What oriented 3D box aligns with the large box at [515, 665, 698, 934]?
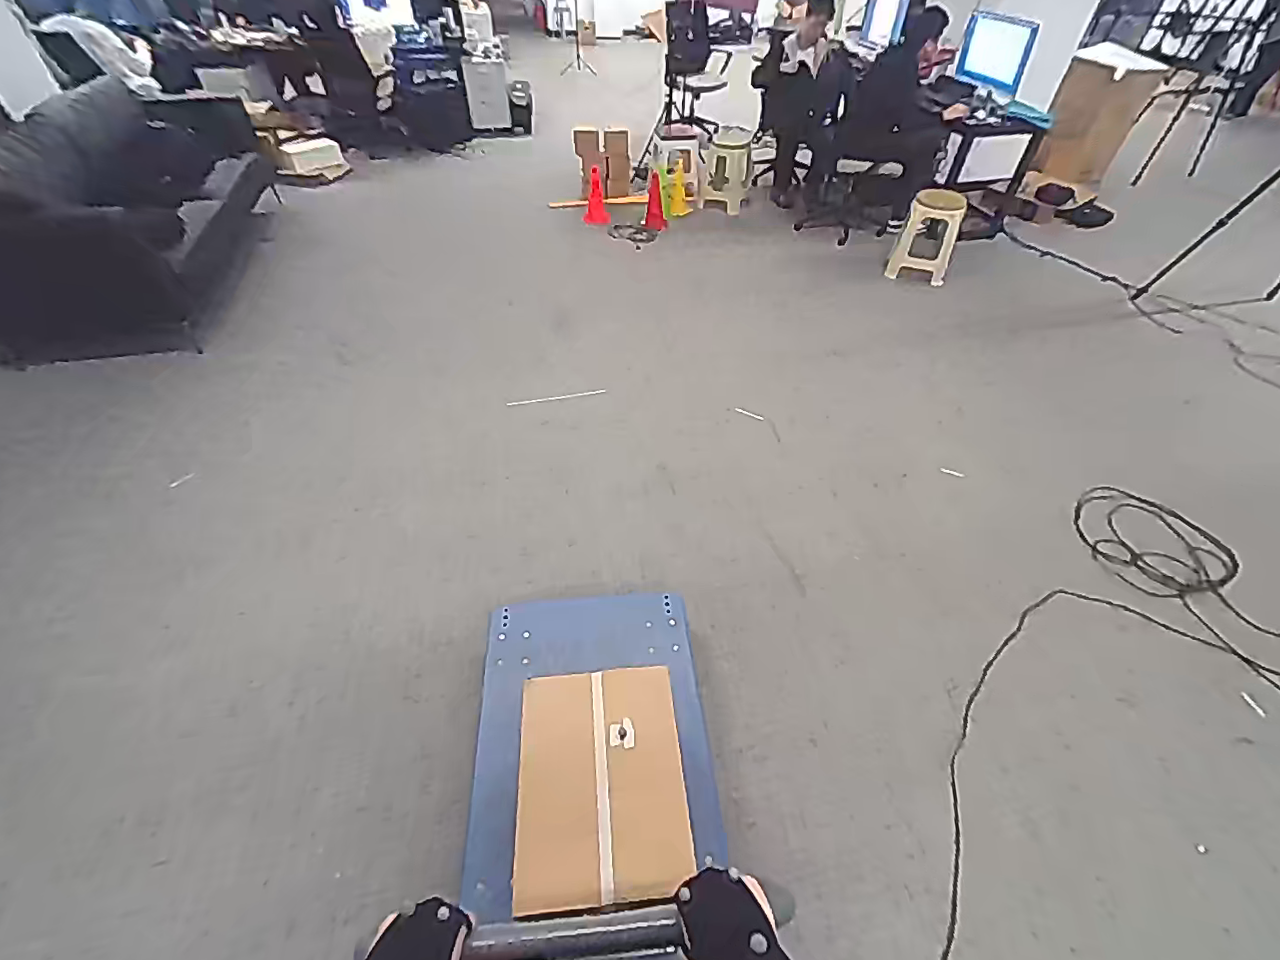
[{"bbox_3d":[-0.078,0.663,1.141,0.320,0.320,0.408,-4,45,-6],"label":"large box"}]
